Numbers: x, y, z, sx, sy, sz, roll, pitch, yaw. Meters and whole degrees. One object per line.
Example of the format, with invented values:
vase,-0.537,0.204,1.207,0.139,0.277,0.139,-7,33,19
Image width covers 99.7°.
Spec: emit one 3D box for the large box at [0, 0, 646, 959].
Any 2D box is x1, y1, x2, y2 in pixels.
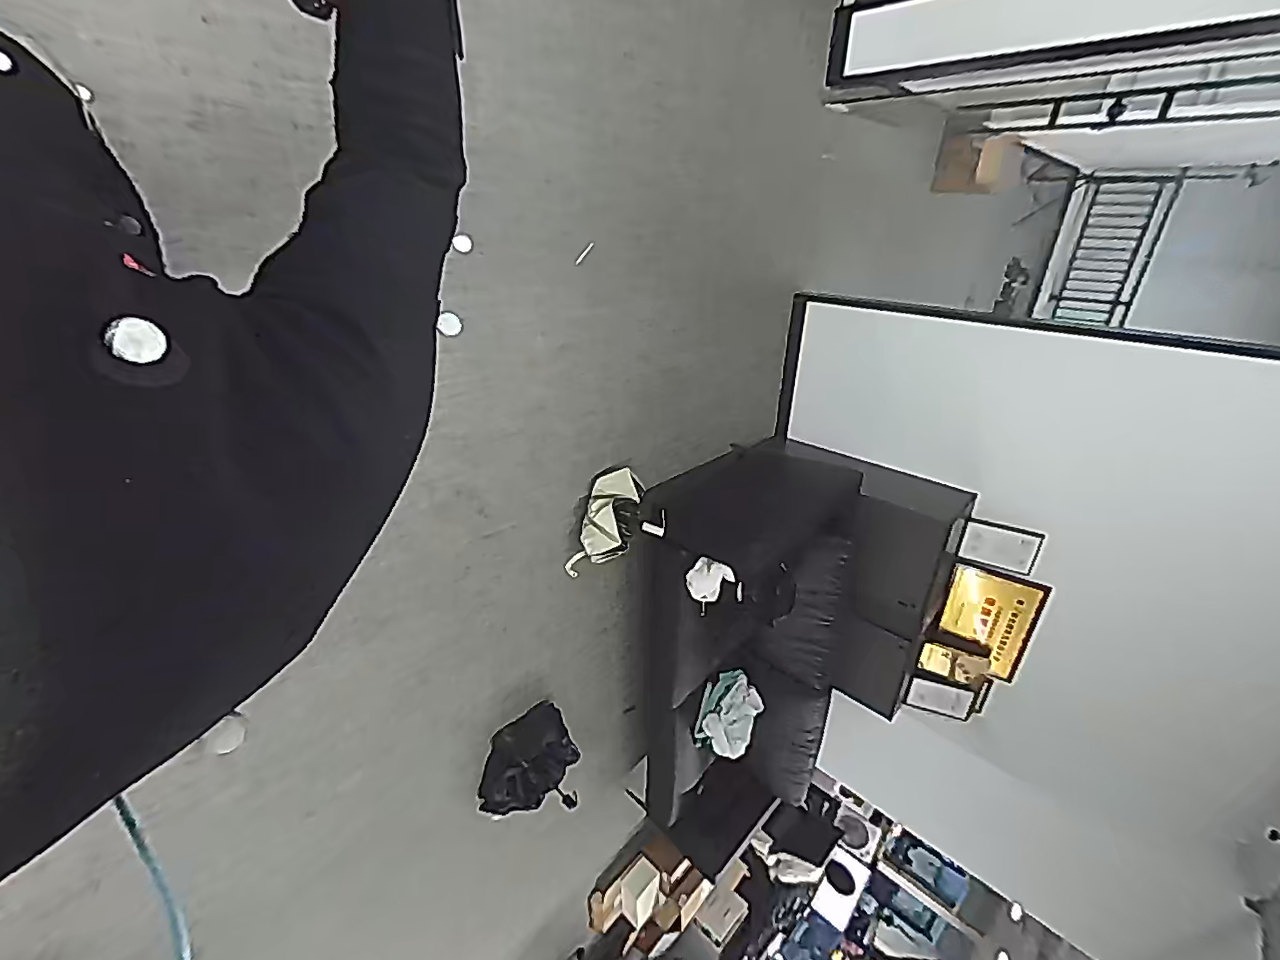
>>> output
large box,-0.204,0.005,0.305,0.320,0.320,0.408,12,67,-19
